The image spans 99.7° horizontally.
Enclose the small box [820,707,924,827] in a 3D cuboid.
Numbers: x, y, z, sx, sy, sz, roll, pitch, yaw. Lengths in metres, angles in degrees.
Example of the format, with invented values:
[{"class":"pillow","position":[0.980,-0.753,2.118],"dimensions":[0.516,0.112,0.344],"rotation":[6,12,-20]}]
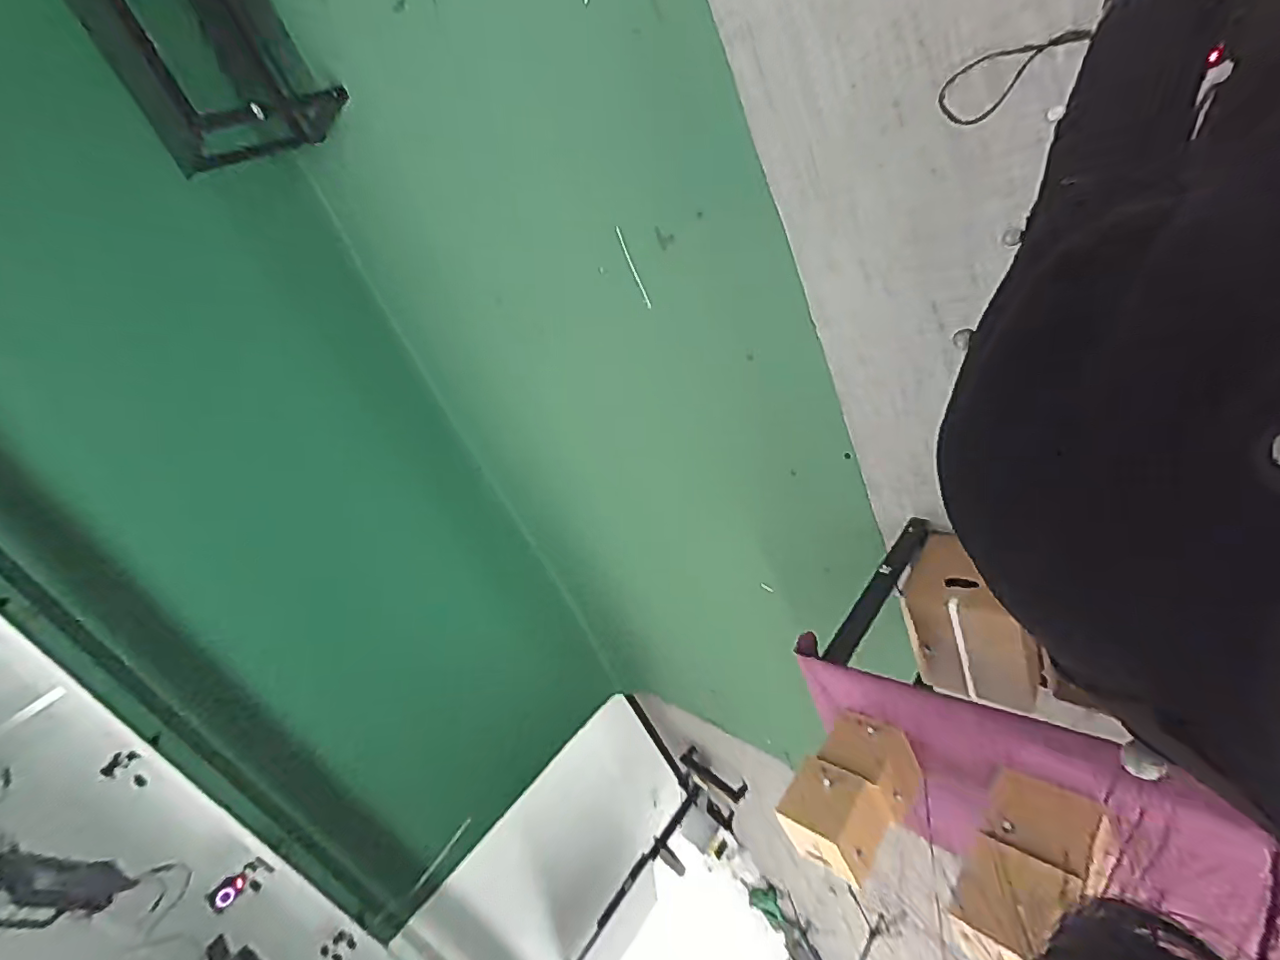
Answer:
[{"class":"small box","position":[0.590,0.716,1.366],"dimensions":[0.168,0.176,0.179],"rotation":[-2,124,51]}]

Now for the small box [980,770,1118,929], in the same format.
[{"class":"small box","position":[0.815,0.718,1.077],"dimensions":[0.179,0.176,0.168],"rotation":[1,126,51]}]

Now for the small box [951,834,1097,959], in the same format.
[{"class":"small box","position":[0.703,0.796,0.984],"dimensions":[0.179,0.176,0.168],"rotation":[-1,124,52]}]

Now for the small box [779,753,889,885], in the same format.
[{"class":"small box","position":[0.468,0.800,1.291],"dimensions":[0.168,0.176,0.179],"rotation":[-2,123,51]}]
